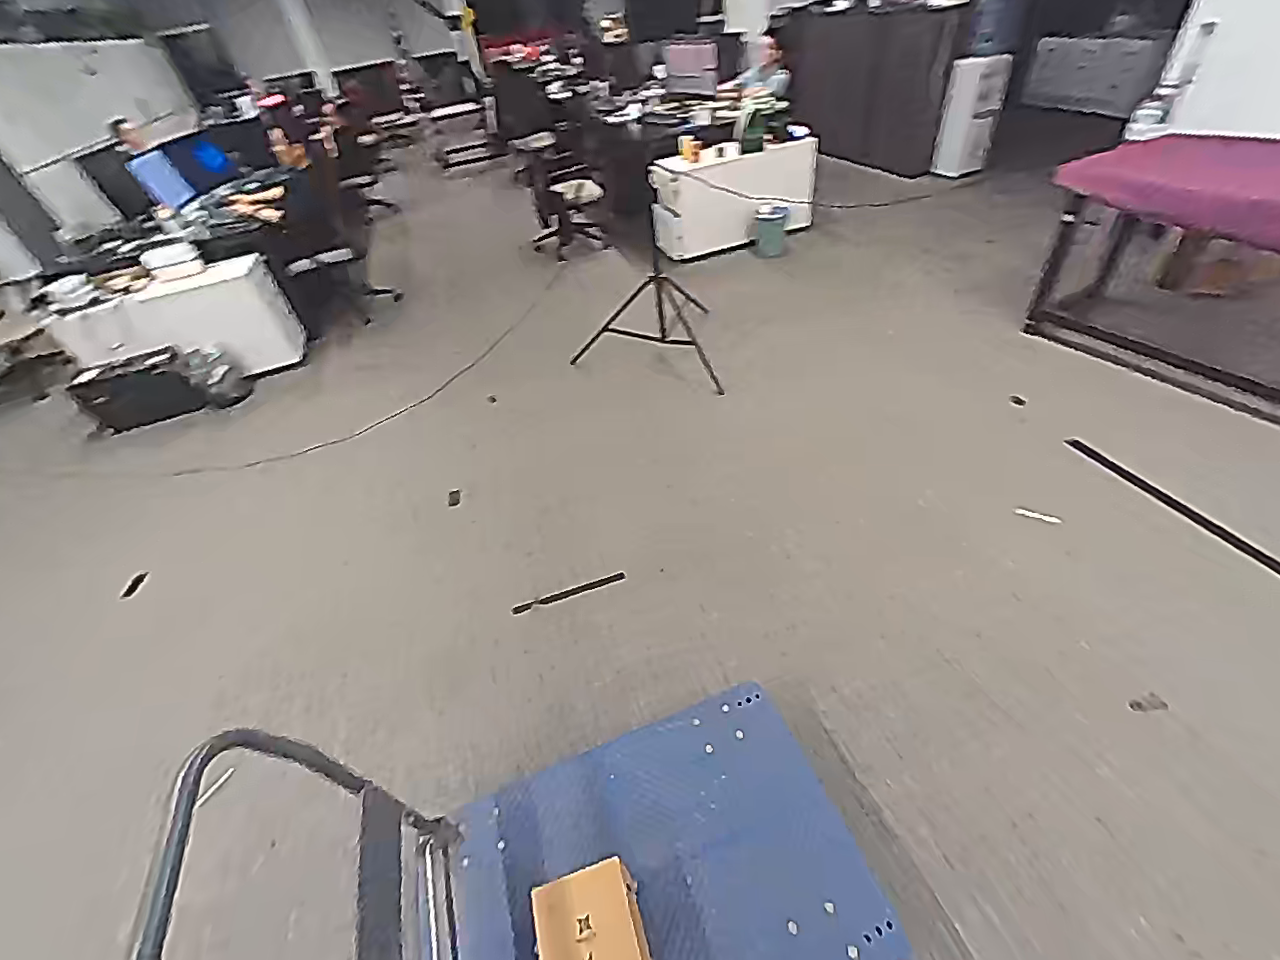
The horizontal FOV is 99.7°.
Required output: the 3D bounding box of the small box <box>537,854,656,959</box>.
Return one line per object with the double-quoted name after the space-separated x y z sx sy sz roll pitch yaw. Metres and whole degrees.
-0.074 0.818 0.968 0.168 0.176 0.179 -18 43 -8 "small box"
